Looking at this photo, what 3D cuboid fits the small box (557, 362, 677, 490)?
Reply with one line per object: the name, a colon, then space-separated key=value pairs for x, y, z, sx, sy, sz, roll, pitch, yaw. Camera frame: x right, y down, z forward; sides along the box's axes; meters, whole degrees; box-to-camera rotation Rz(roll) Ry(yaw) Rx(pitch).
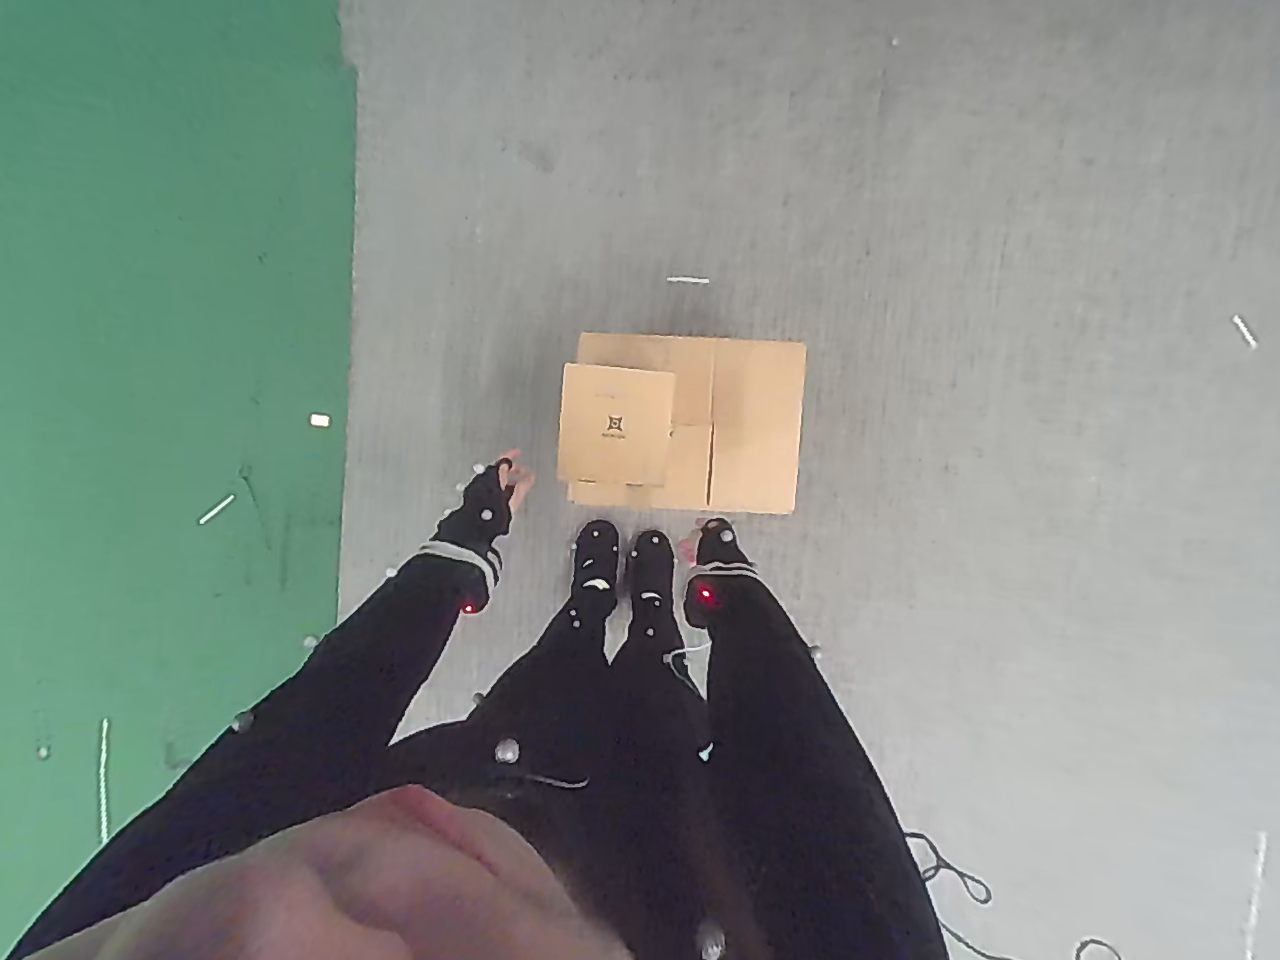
small box: x=-0.034 y=-0.085 z=0.875 sx=0.168 sy=0.176 sz=0.179 roll=5 pitch=95 yaw=-1
